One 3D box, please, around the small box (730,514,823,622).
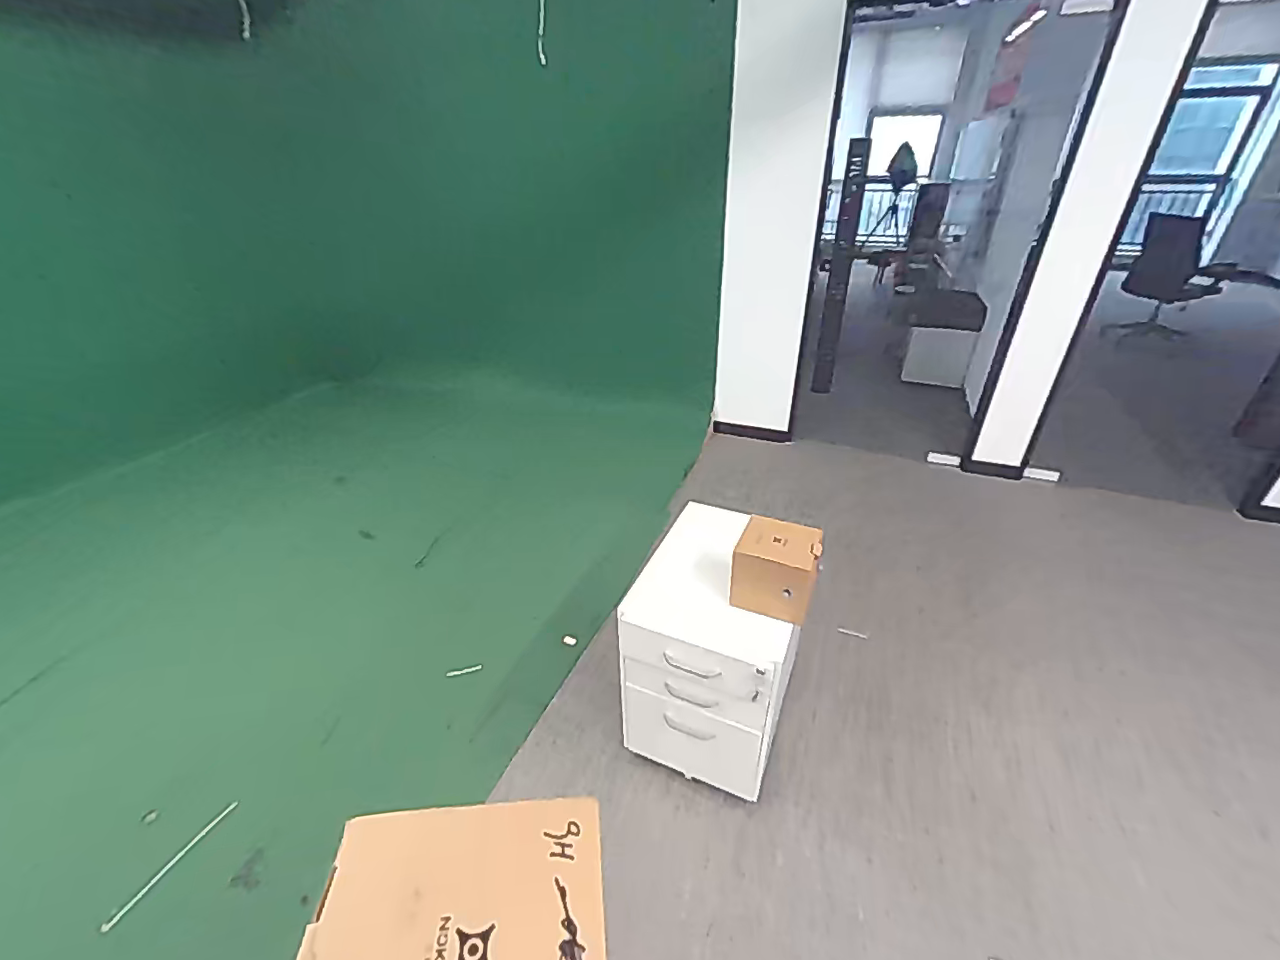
[{"bbox_3d":[0.322,0.208,1.281,0.179,0.176,0.168,11,32,22],"label":"small box"}]
